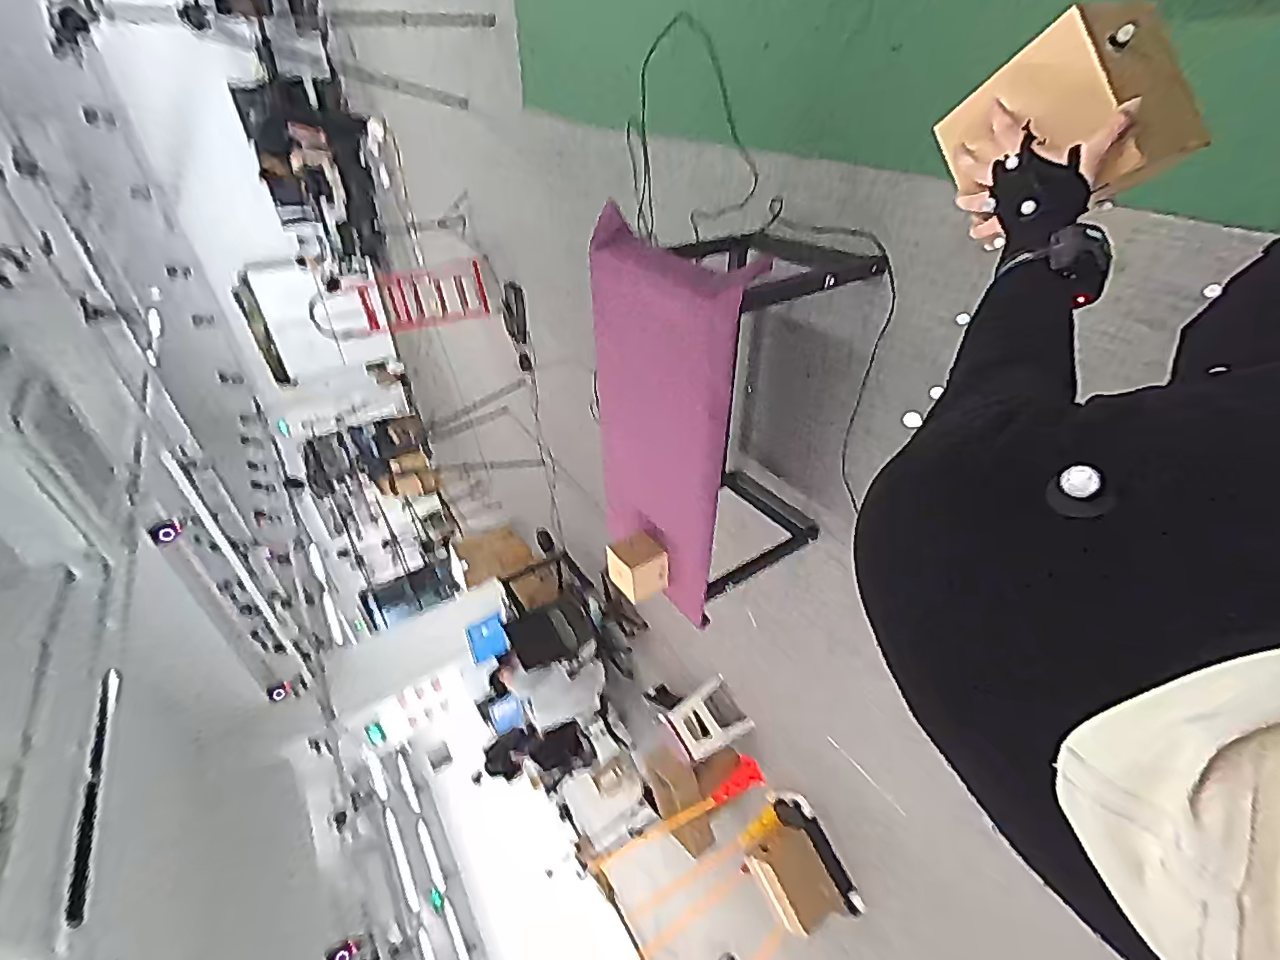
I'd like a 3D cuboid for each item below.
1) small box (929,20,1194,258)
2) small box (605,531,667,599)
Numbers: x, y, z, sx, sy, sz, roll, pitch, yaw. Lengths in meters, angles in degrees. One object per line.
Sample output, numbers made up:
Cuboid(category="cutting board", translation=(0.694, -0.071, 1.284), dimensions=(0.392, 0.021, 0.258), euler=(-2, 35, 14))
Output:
Cuboid(category="small box", translation=(0.500, -0.403, 0.652), dimensions=(0.179, 0.176, 0.168), euler=(66, 157, 0))
Cuboid(category="small box", translation=(-0.016, 0.316, 2.067), dimensions=(0.179, 0.176, 0.168), euler=(38, 141, 44))
